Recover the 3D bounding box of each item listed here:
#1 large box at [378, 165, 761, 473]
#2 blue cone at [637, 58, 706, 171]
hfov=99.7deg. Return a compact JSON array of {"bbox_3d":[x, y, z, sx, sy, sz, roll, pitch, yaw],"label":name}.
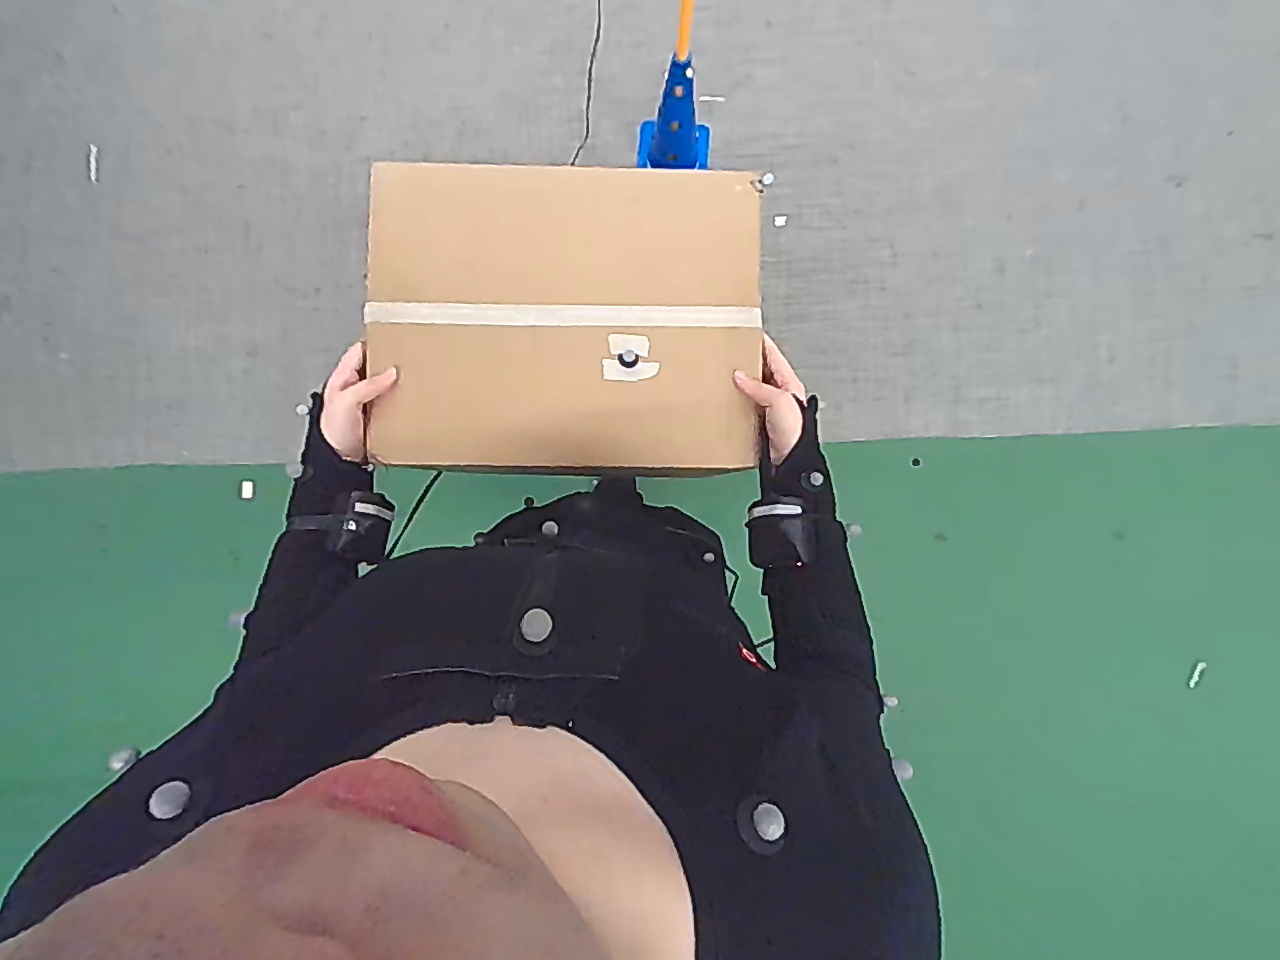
[{"bbox_3d":[-0.079,-0.171,0.713,0.408,0.320,0.320,0,89,-2],"label":"large box"},{"bbox_3d":[0.089,-0.919,1.373,0.193,0.380,0.192,6,89,0],"label":"blue cone"}]
